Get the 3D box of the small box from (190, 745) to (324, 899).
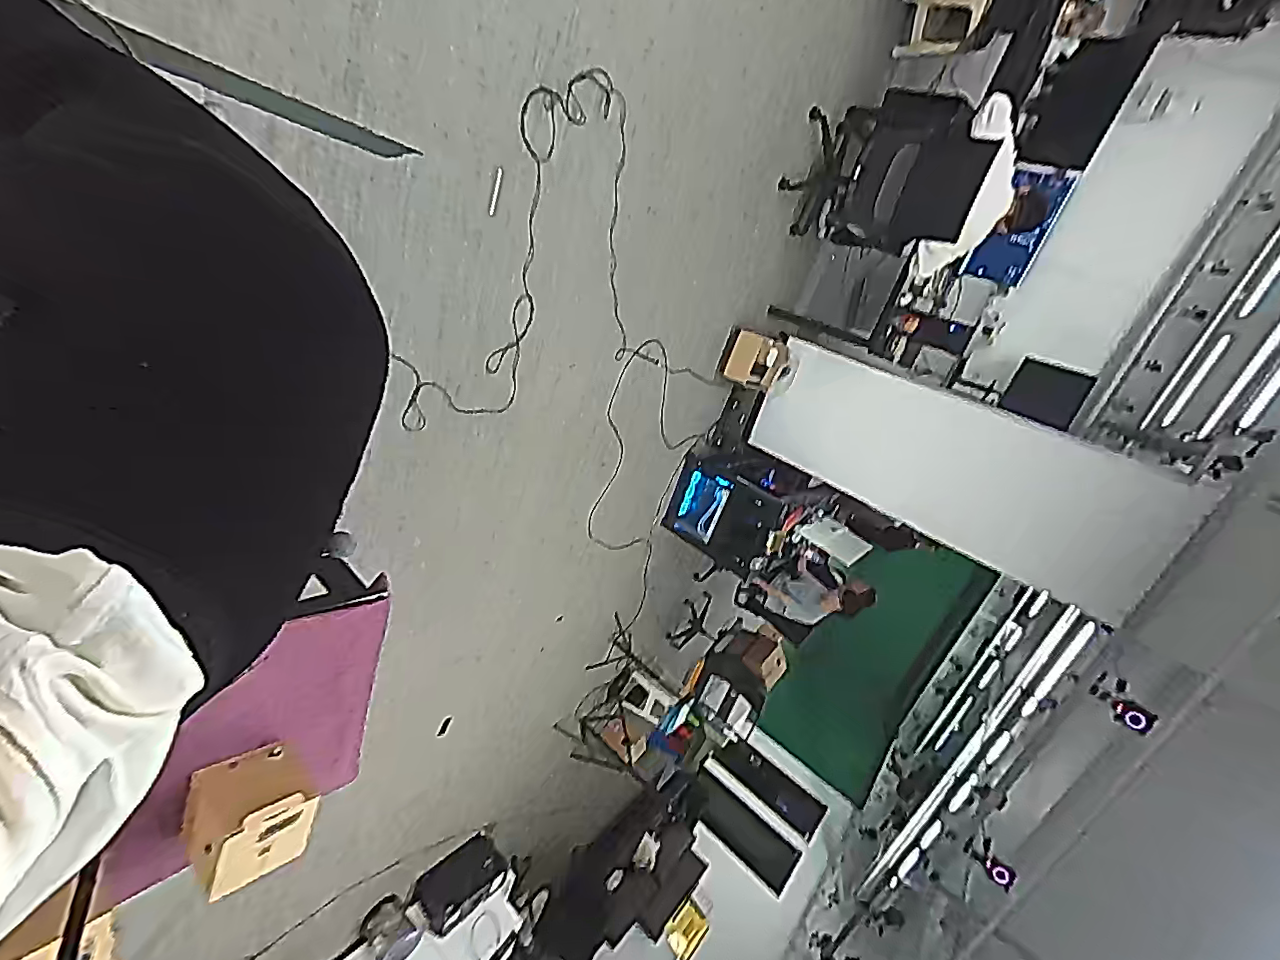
[{"bbox_3d":[-0.778,0.673,1.095,0.168,0.176,0.179,-1,118,-56],"label":"small box"}]
